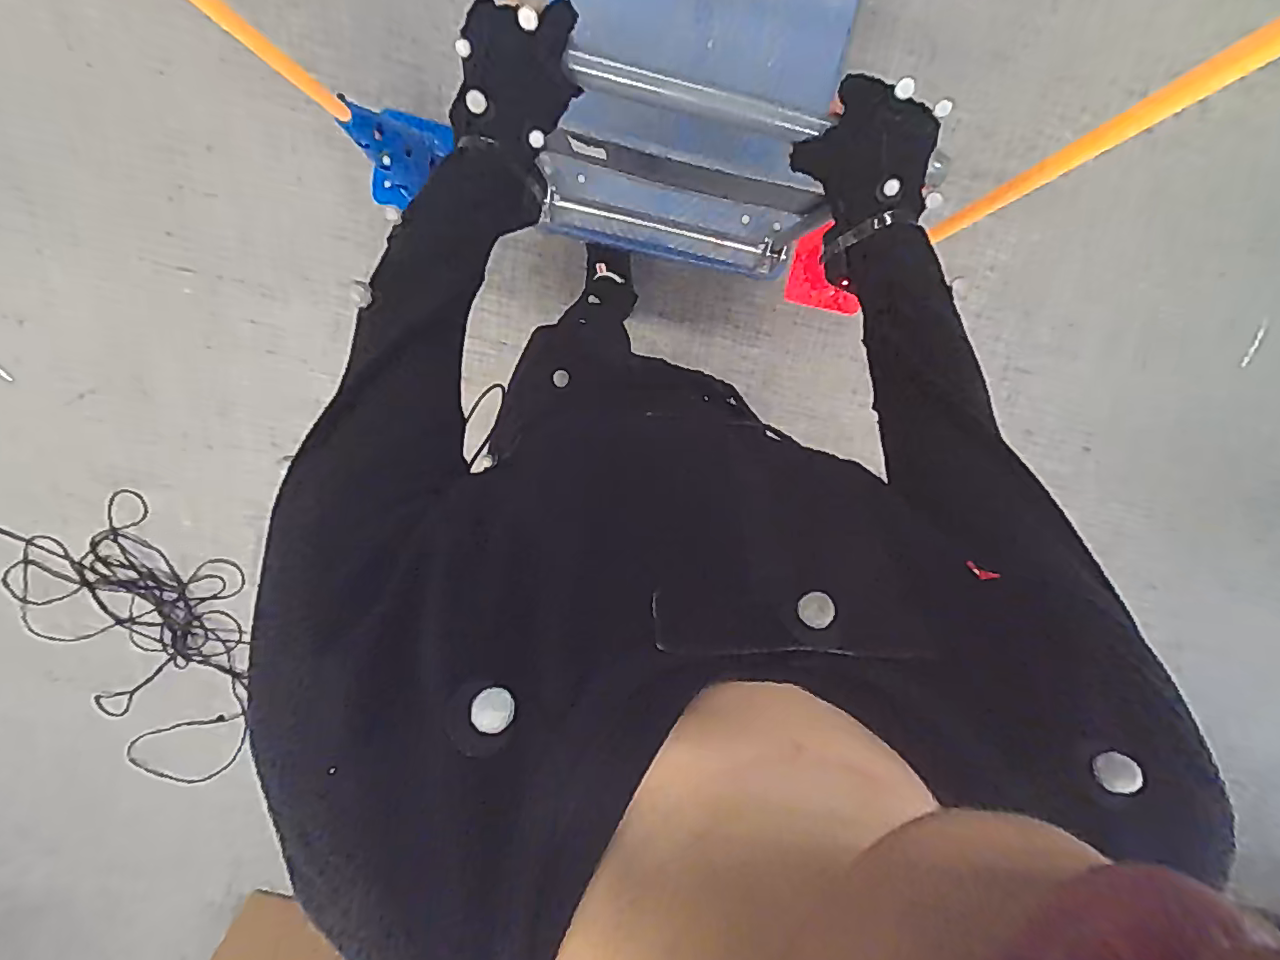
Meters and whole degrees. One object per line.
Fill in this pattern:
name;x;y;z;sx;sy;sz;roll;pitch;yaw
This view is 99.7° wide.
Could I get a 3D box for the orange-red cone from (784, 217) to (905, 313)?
orange-red cone;0.478;-0.486;1.189;0.199;0.360;0.198;13;106;-4
